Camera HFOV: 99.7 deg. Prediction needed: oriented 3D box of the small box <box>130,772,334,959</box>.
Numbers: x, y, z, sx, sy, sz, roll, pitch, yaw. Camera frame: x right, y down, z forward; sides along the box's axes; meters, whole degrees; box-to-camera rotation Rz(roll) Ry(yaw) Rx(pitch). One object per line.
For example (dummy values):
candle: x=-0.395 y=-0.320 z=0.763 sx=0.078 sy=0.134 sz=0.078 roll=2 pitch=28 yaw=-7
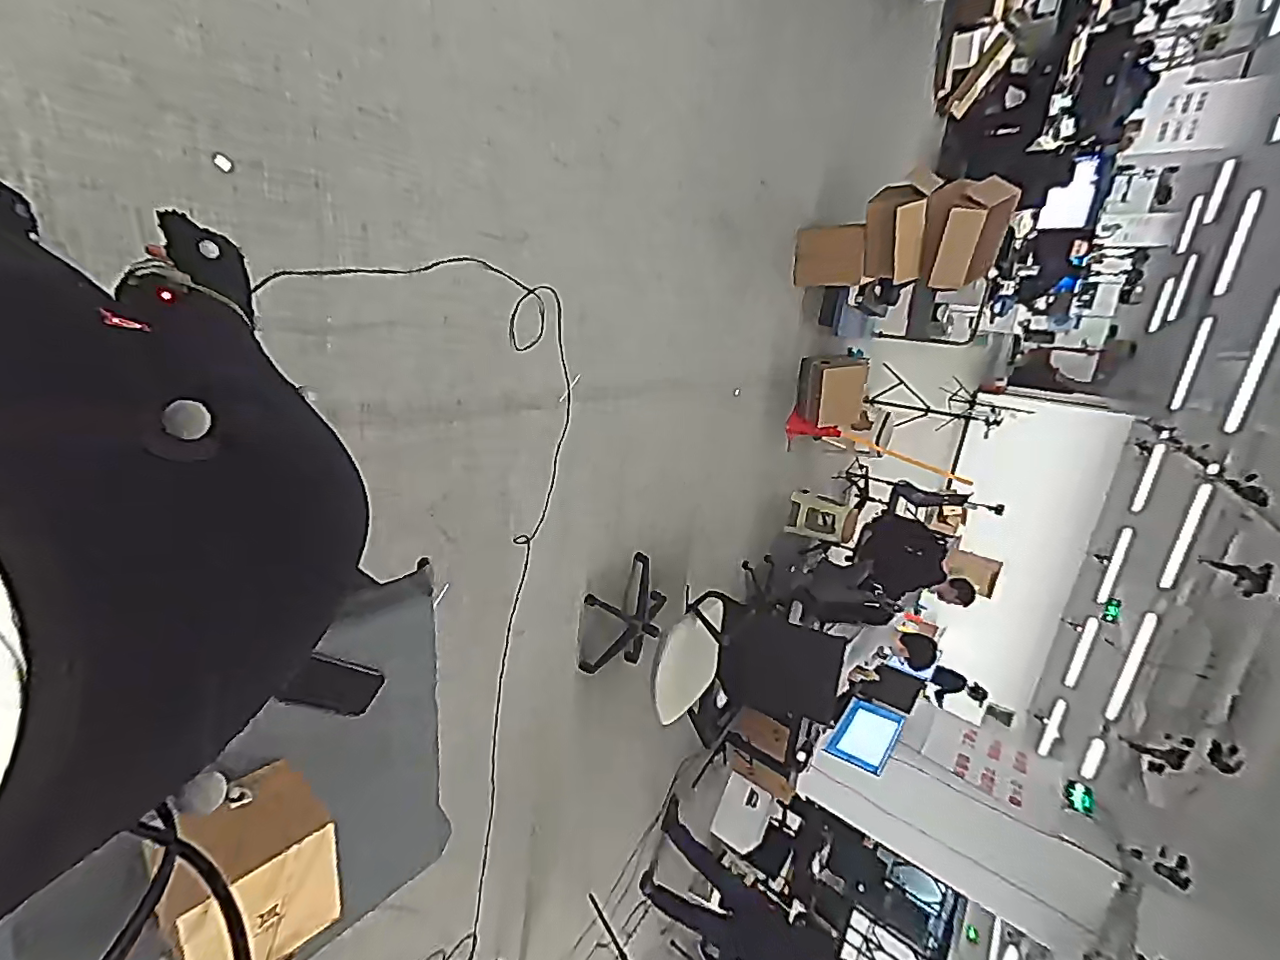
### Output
small box: x=-0.529 y=0.534 z=0.709 sx=0.168 sy=0.176 sz=0.179 roll=-16 pitch=116 yaw=-51
